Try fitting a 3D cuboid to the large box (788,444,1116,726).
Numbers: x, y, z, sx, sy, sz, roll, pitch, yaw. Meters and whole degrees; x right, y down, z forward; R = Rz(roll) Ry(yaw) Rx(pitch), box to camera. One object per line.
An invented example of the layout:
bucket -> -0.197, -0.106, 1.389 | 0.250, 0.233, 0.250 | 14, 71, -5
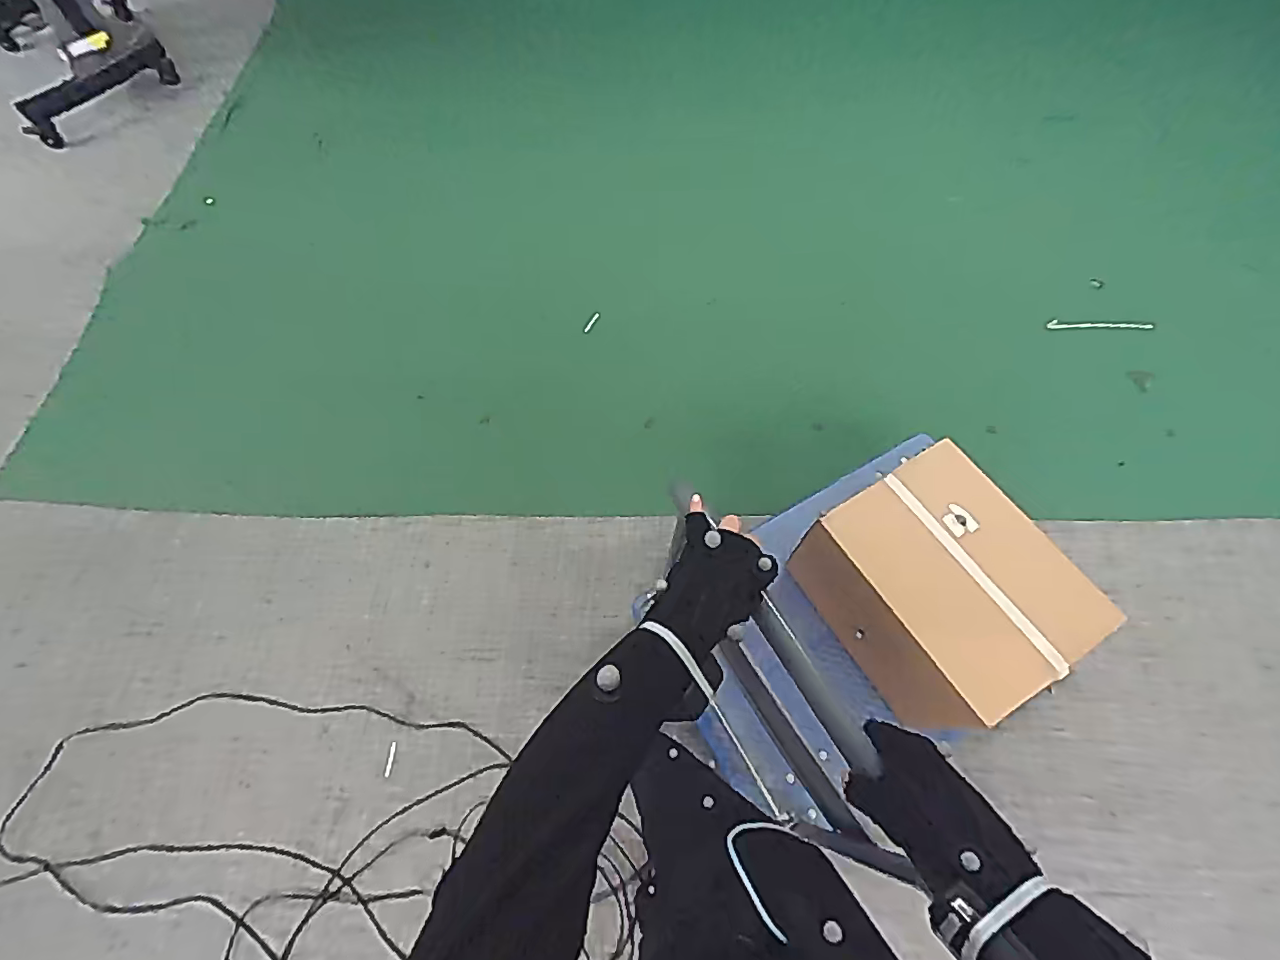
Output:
large box -> 0.560, 0.215, 1.067 | 0.320, 0.320, 0.408 | -30, 66, -11
